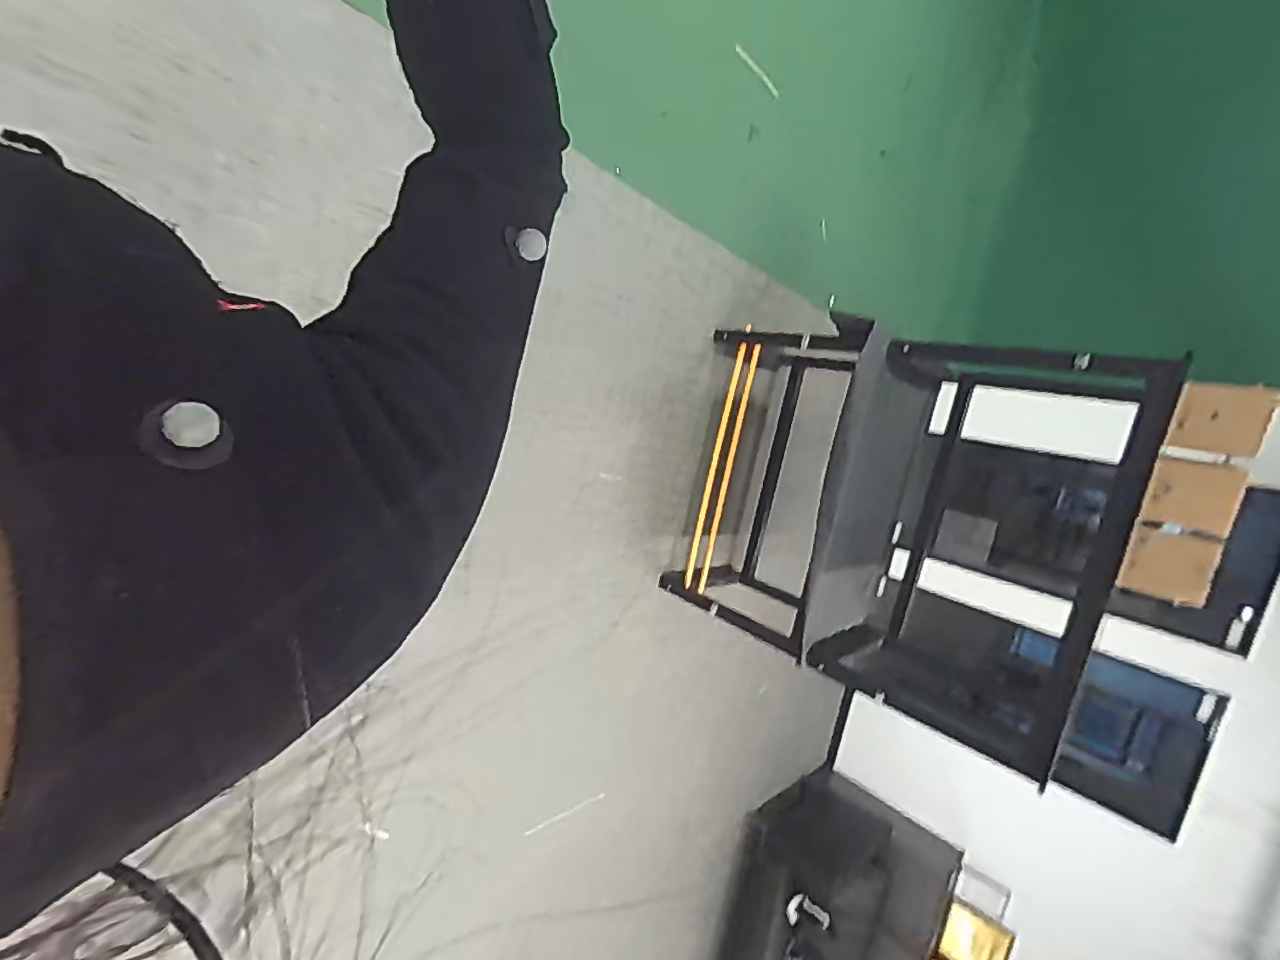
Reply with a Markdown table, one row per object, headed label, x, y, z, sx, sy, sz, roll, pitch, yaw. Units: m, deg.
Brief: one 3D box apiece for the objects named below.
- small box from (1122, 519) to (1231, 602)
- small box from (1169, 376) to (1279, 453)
| label | x | y | z | sx | sy | sz | roll | pitch | yaw |
| --- | --- | --- | --- | --- | --- | --- | --- | --- | --- |
| small box | 1.389 | 0.205 | 1.411 | 0.179 | 0.176 | 0.168 | 6 | 100 | -47 |
| small box | 1.461 | -0.165 | 1.349 | 0.179 | 0.176 | 0.168 | -7 | 110 | -45 |
